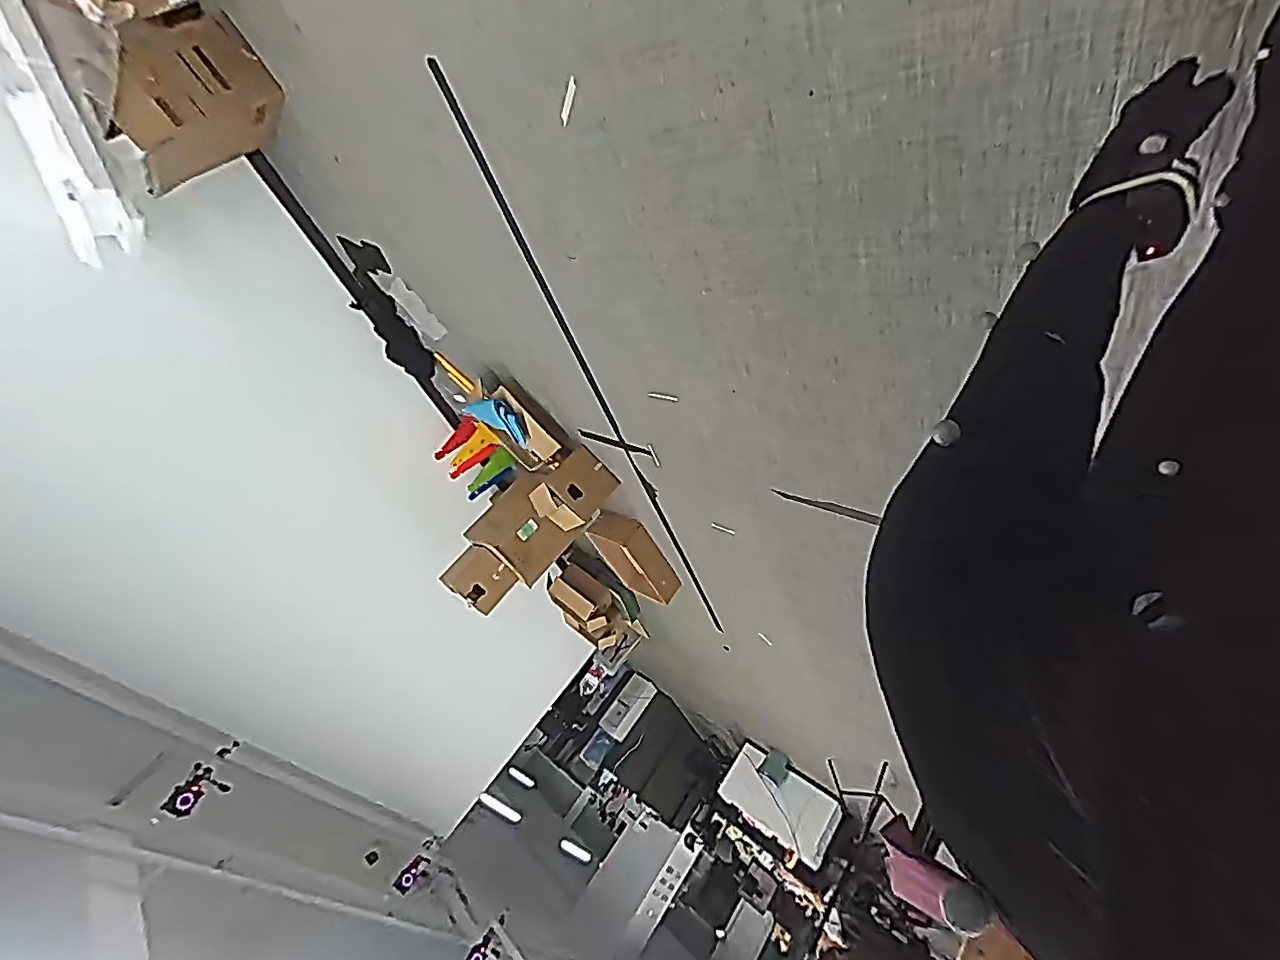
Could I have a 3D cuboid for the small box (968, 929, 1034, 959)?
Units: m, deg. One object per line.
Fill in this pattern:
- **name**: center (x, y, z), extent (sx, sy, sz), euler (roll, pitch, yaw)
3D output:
- **small box**: center (1.170, 1.599, 1.750), extent (0.179, 0.176, 0.168), euler (19, 149, 38)
